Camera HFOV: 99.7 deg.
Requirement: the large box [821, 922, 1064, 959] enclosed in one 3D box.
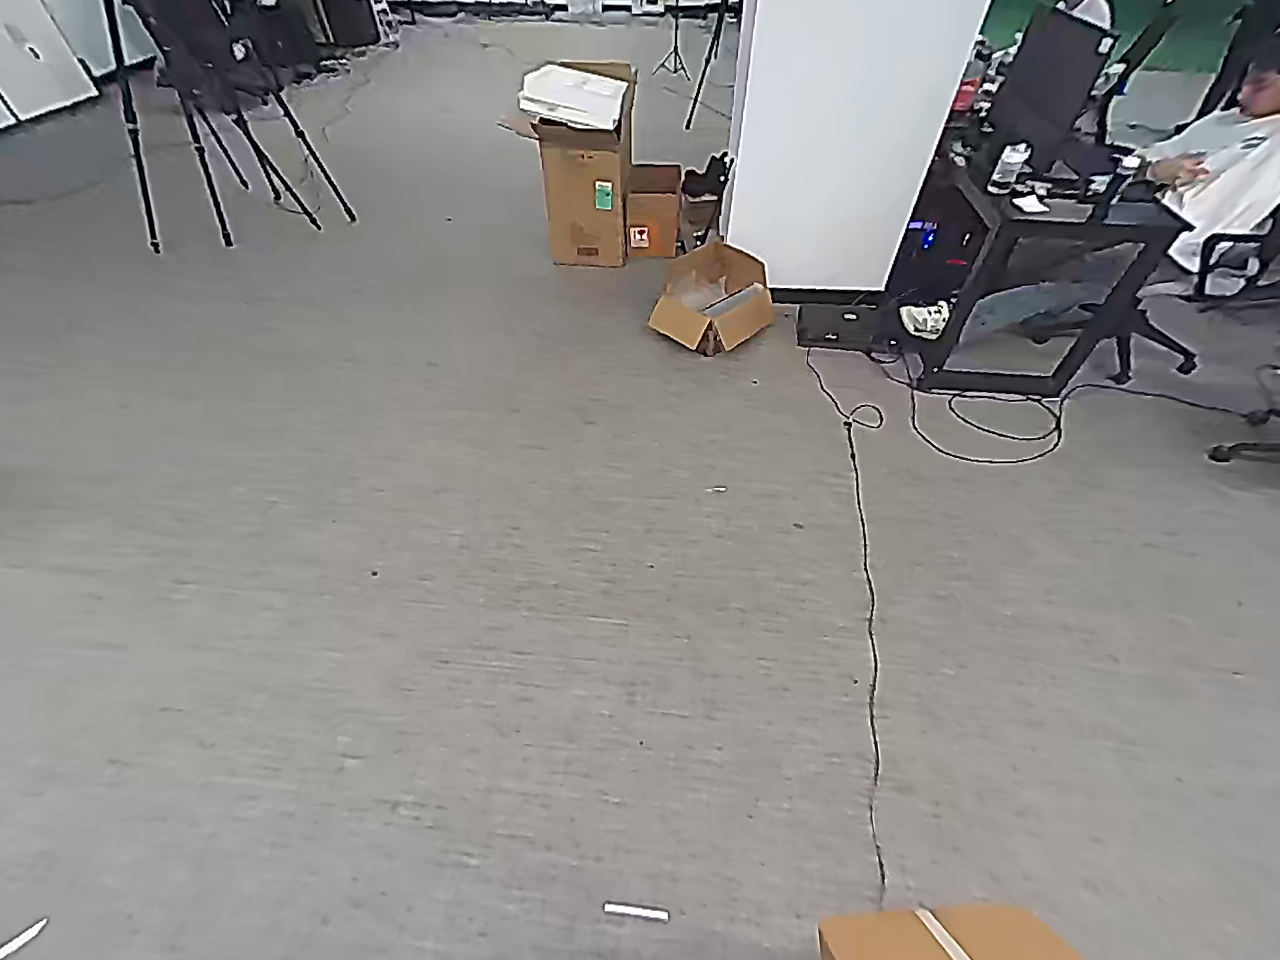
[{"bbox_3d":[0.427,0.778,0.582,0.320,0.408,0.320,-3,81,-2],"label":"large box"}]
